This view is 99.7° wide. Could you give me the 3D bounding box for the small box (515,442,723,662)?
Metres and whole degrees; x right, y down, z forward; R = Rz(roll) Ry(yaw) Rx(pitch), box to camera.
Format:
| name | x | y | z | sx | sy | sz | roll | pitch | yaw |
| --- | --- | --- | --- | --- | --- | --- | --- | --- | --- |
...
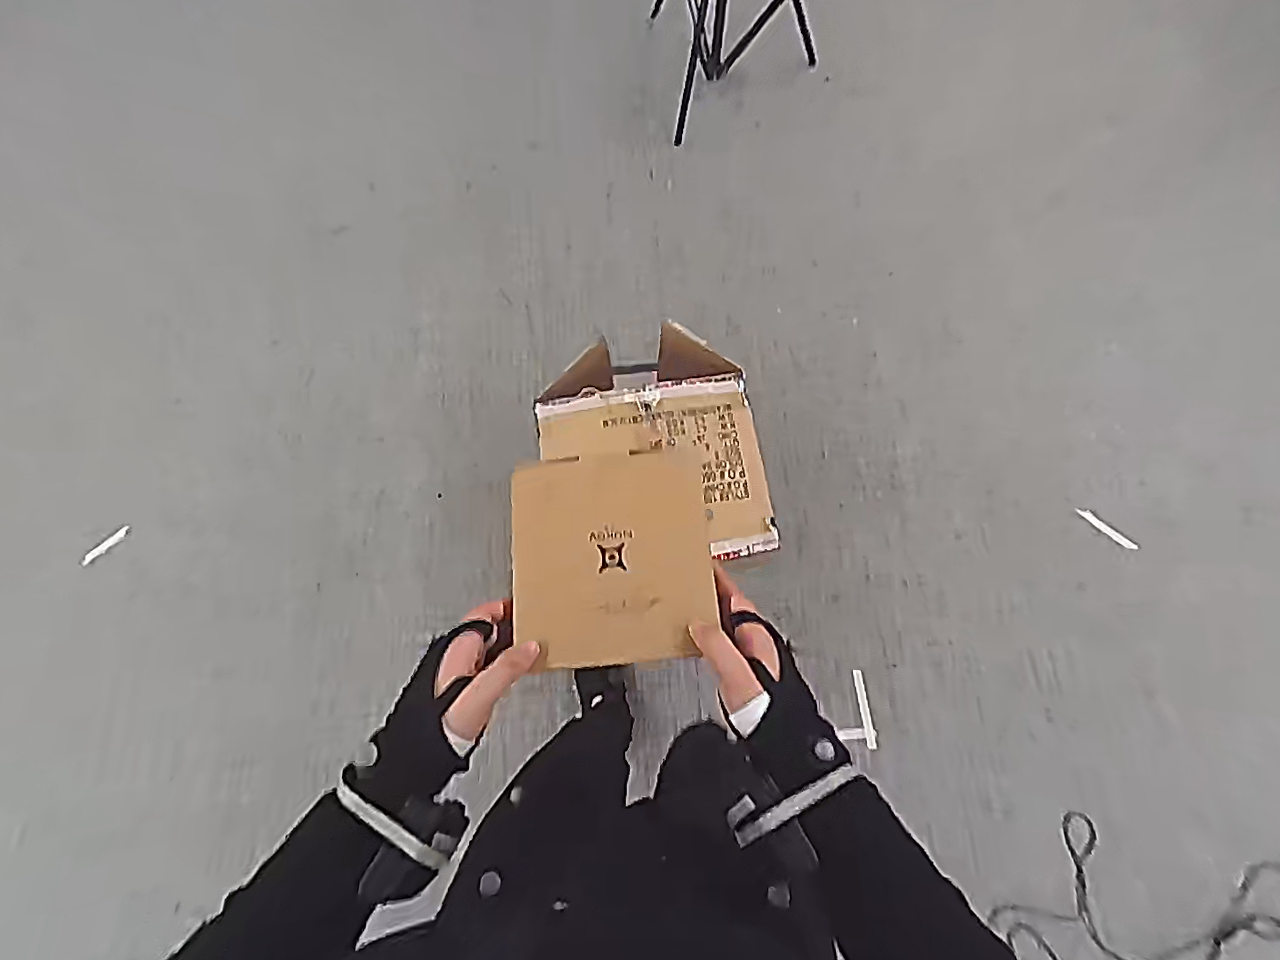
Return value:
| name | x | y | z | sx | sy | sz | roll | pitch | yaw |
| --- | --- | --- | --- | --- | --- | --- | --- | --- | --- |
| small box | -0.021 | 0.080 | 0.528 | 0.168 | 0.176 | 0.179 | -6 | 72 | 0 |
